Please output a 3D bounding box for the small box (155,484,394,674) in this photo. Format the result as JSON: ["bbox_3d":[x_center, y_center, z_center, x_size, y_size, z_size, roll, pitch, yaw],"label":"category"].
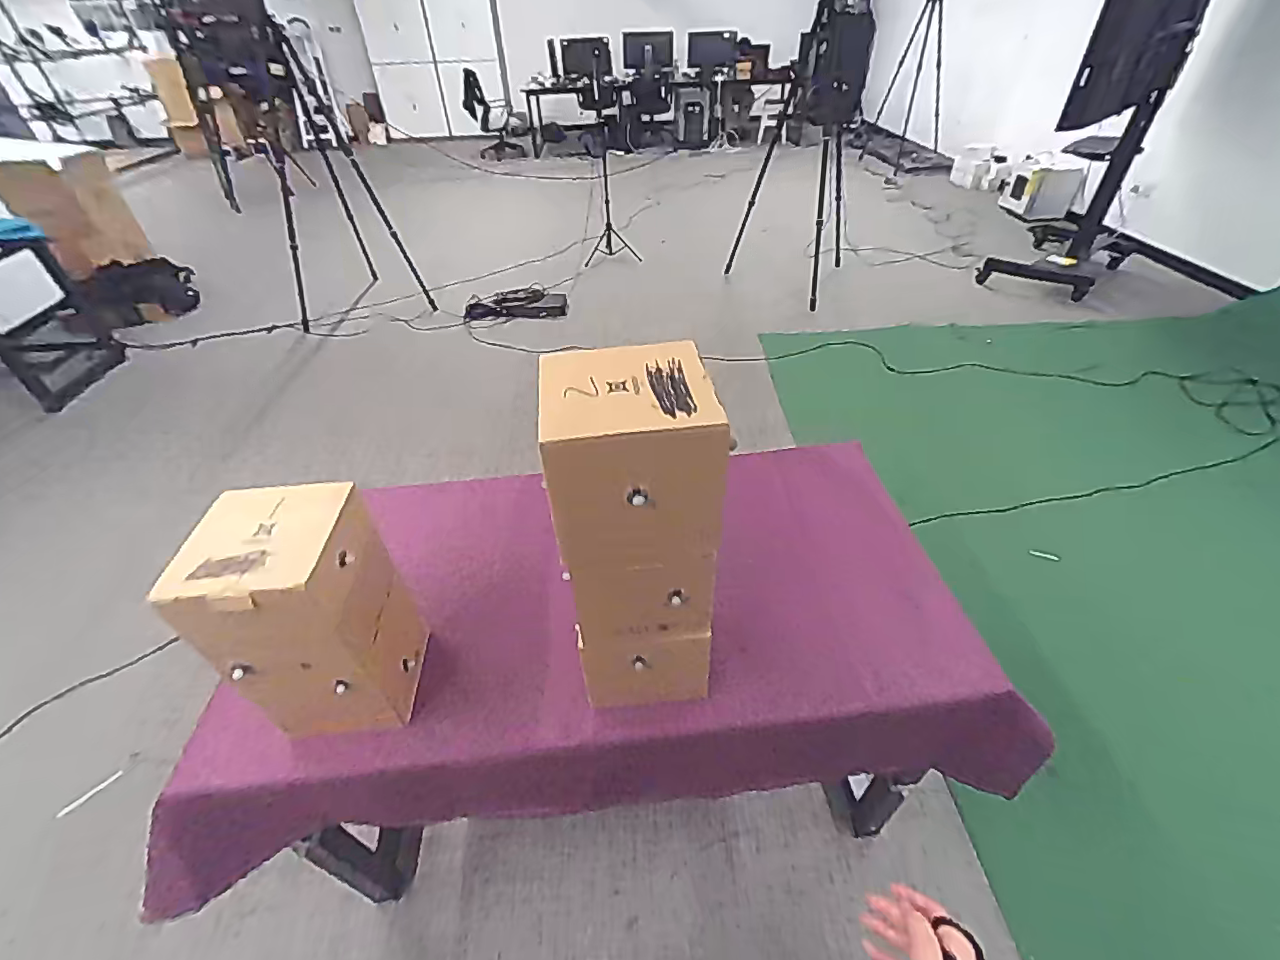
[{"bbox_3d":[-0.435,0.129,0.686,0.168,0.176,0.179,-4,40,-4],"label":"small box"}]

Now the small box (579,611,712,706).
[{"bbox_3d":[0.007,0.220,0.808,0.179,0.176,0.168,-4,42,-2],"label":"small box"}]

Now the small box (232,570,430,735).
[{"bbox_3d":[-0.432,0.254,0.792,0.179,0.176,0.168,-4,41,-4],"label":"small box"}]

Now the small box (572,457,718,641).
[{"bbox_3d":[0.002,0.094,0.705,0.168,0.176,0.179,-5,41,-4],"label":"small box"}]
